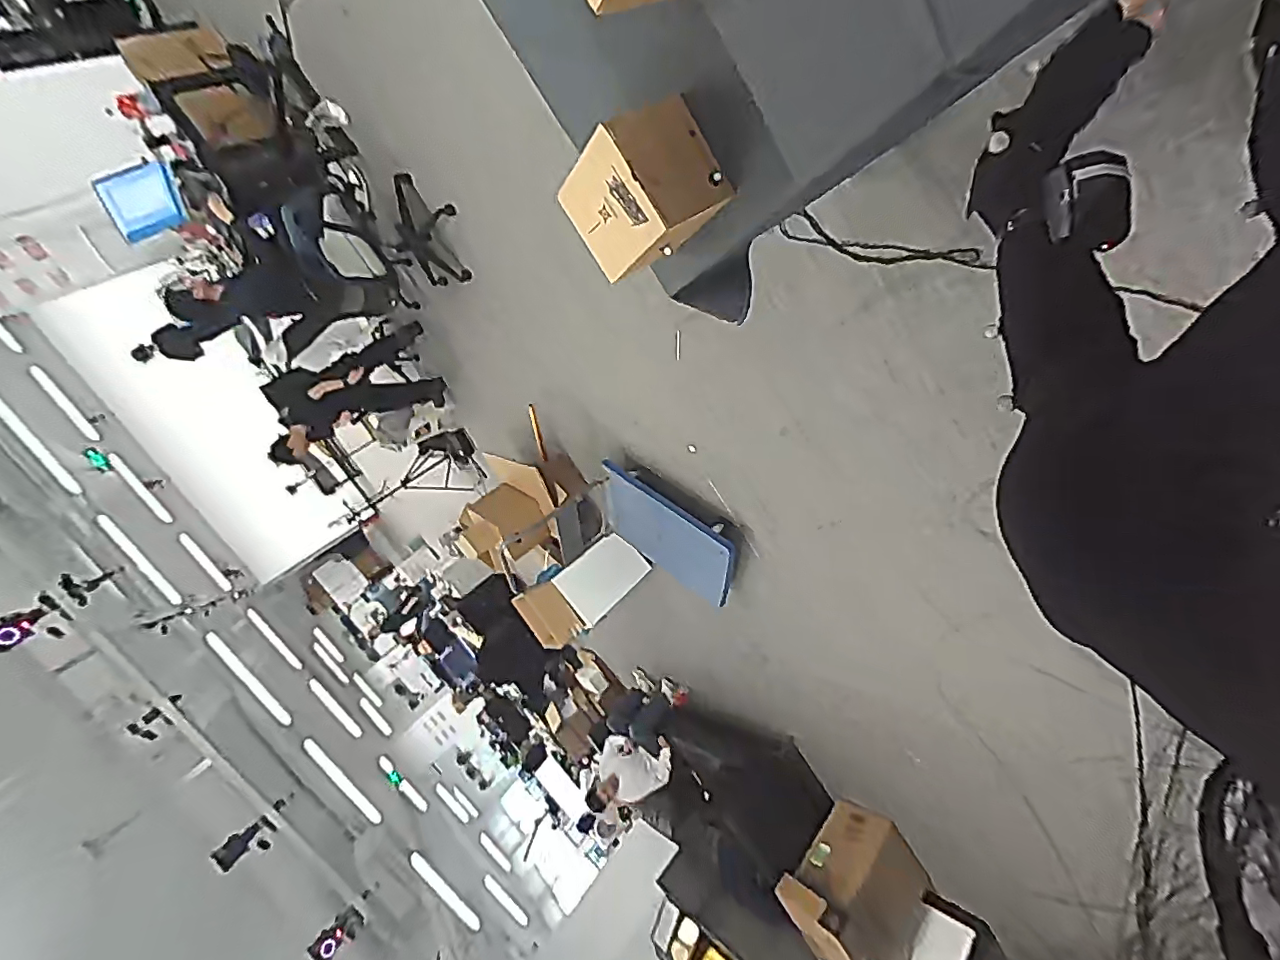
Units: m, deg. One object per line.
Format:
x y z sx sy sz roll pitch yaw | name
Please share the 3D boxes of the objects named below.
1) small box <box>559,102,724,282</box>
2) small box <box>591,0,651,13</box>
0.008 -0.453 0.856 0.168 0.176 0.179 56 150 -10 | small box
0.005 -0.681 0.597 0.168 0.176 0.179 56 150 -13 | small box
